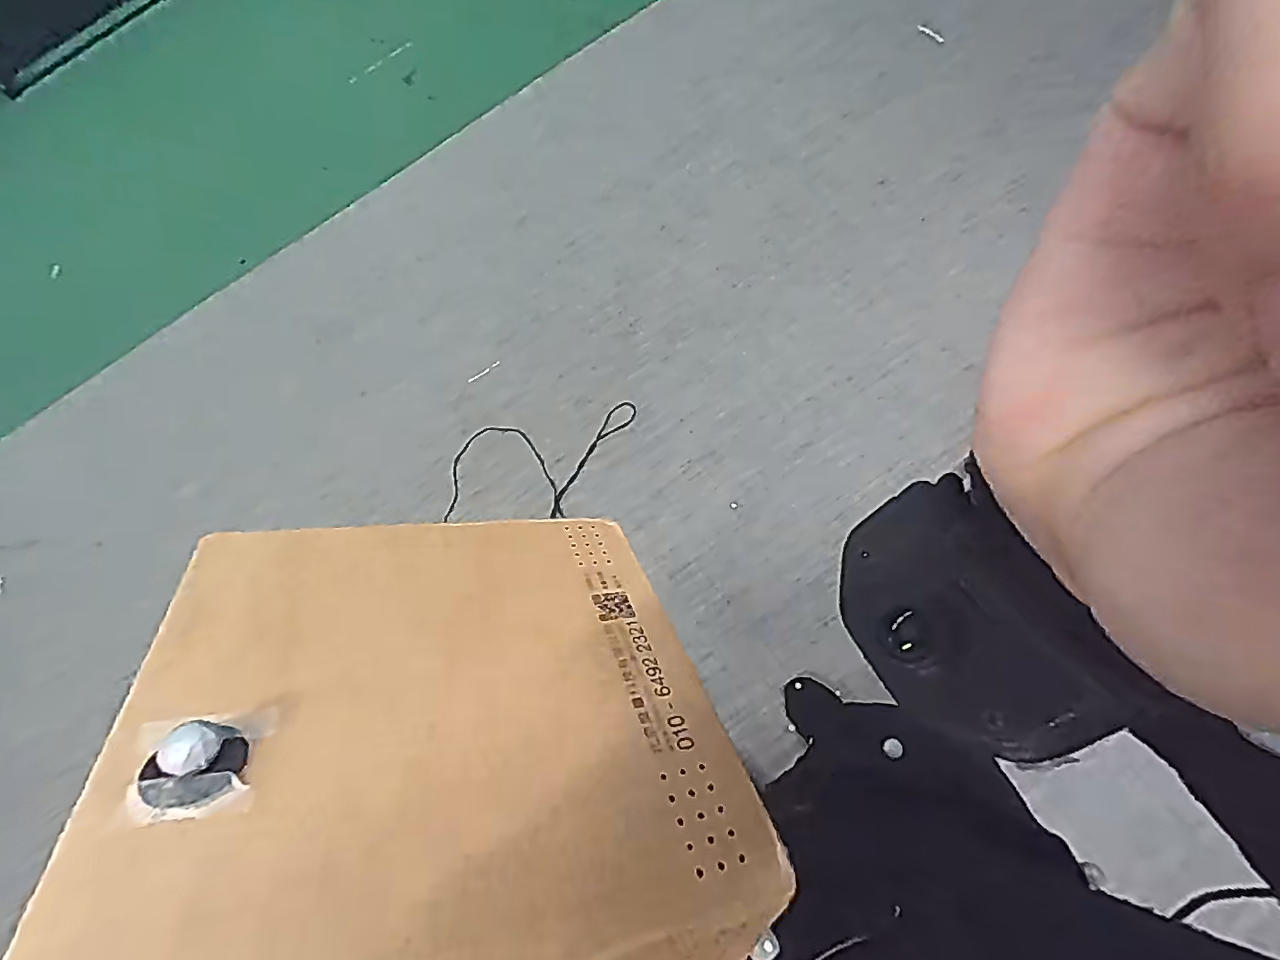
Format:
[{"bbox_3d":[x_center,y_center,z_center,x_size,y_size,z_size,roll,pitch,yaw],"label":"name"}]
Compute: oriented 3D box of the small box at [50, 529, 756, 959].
[{"bbox_3d":[-0.076,0.137,0.224,0.176,0.179,0.168,-1,33,-23],"label":"small box"}]
